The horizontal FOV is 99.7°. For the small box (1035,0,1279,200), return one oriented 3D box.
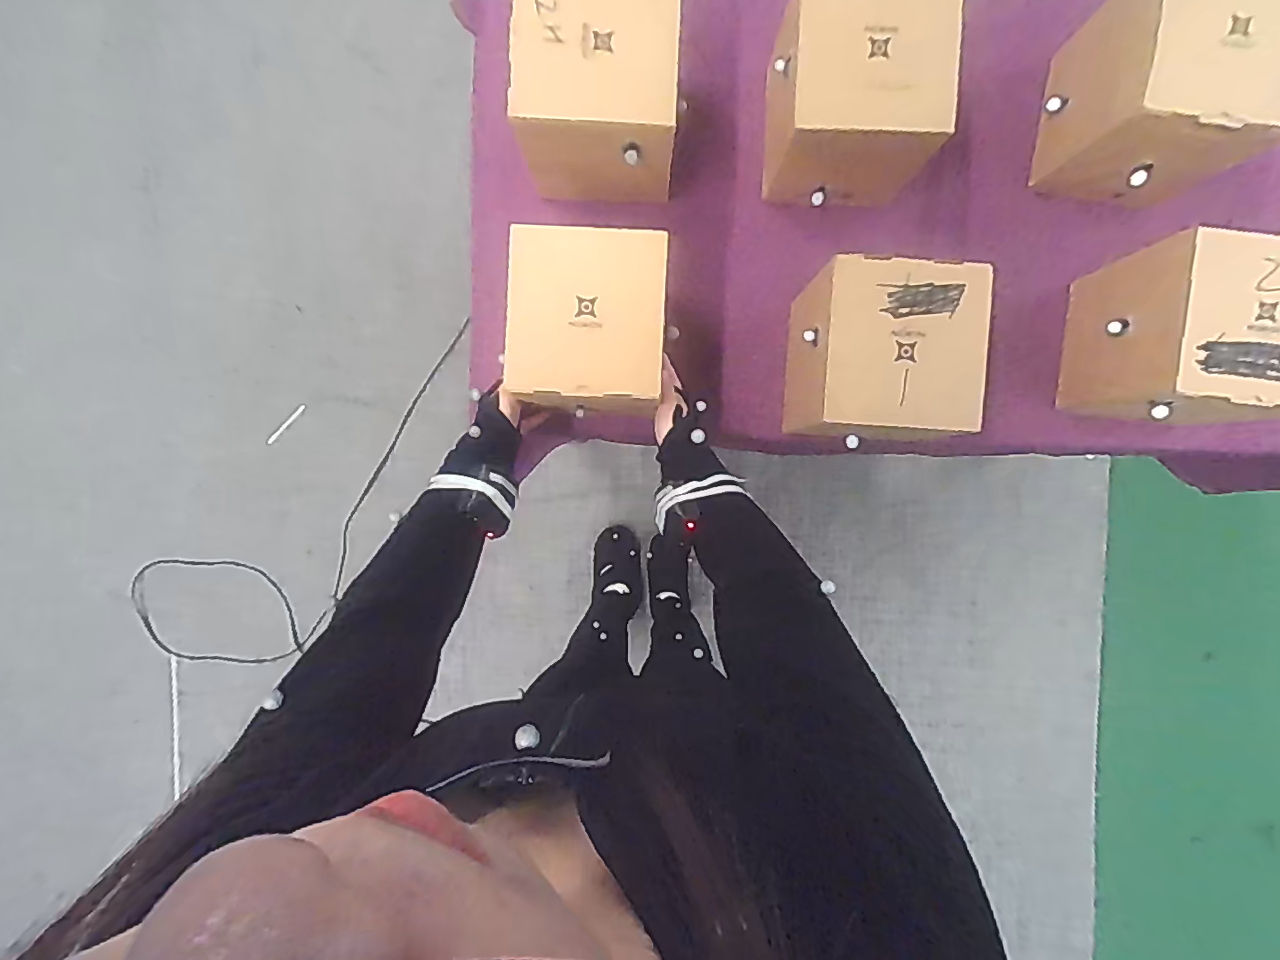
[{"bbox_3d":[0.600,-0.452,0.620,0.168,0.176,0.179,9,93,0],"label":"small box"}]

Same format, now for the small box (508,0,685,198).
[{"bbox_3d":[-0.045,-0.452,0.632,0.179,0.176,0.168,3,91,1],"label":"small box"}]

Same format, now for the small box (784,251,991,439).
[{"bbox_3d":[0.273,-0.145,0.634,0.168,0.176,0.179,4,92,1],"label":"small box"}]

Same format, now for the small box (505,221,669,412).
[{"bbox_3d":[-0.056,-0.180,0.641,0.168,0.176,0.179,3,92,0],"label":"small box"}]
